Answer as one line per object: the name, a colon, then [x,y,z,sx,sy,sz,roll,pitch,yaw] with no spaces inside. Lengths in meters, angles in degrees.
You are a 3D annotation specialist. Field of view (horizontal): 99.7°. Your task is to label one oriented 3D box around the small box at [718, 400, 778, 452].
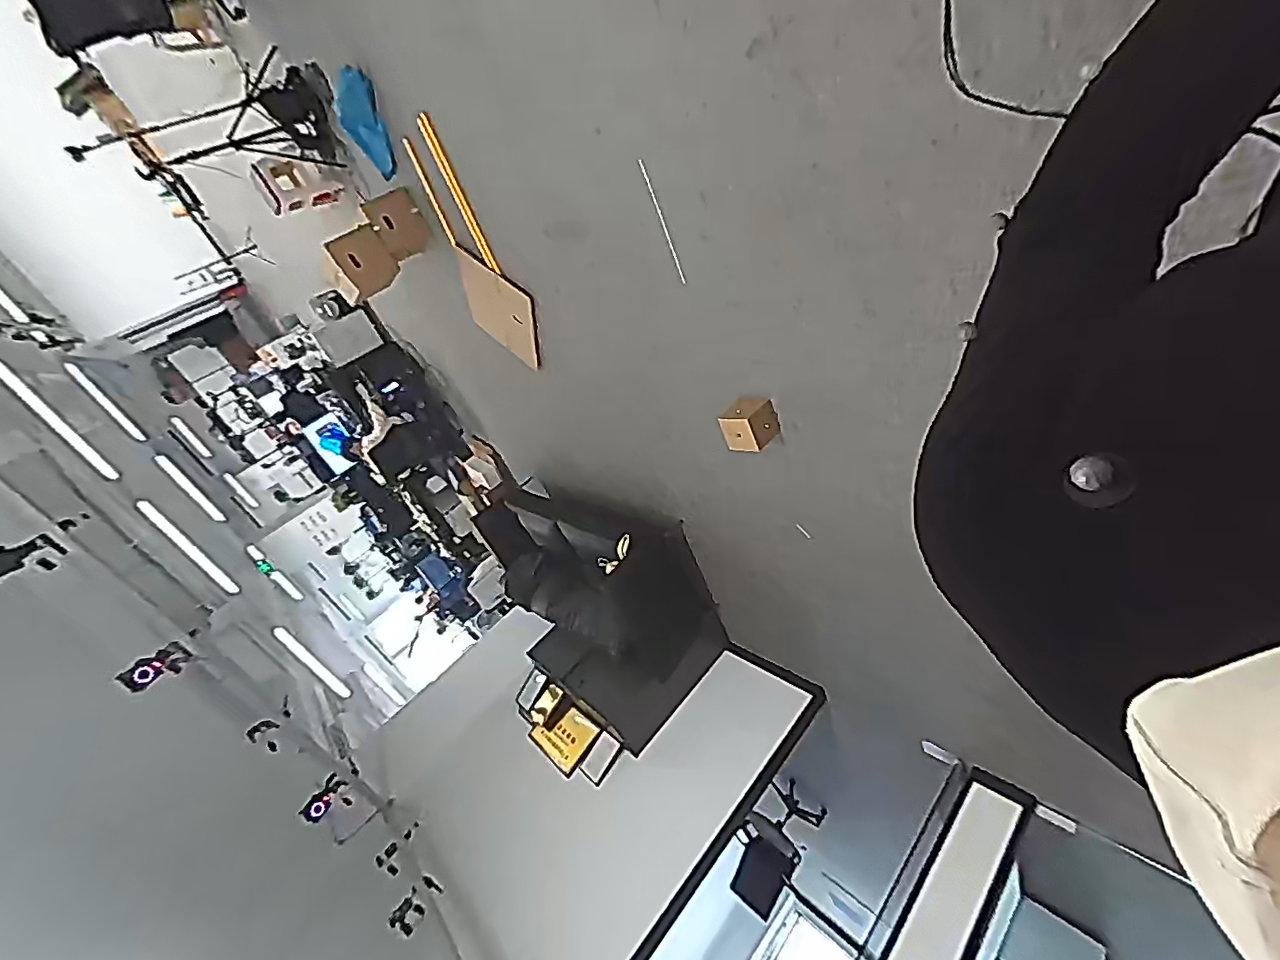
small box: [0.480,-0.242,2.365,0.179,0.176,0.168,10,134,52]
